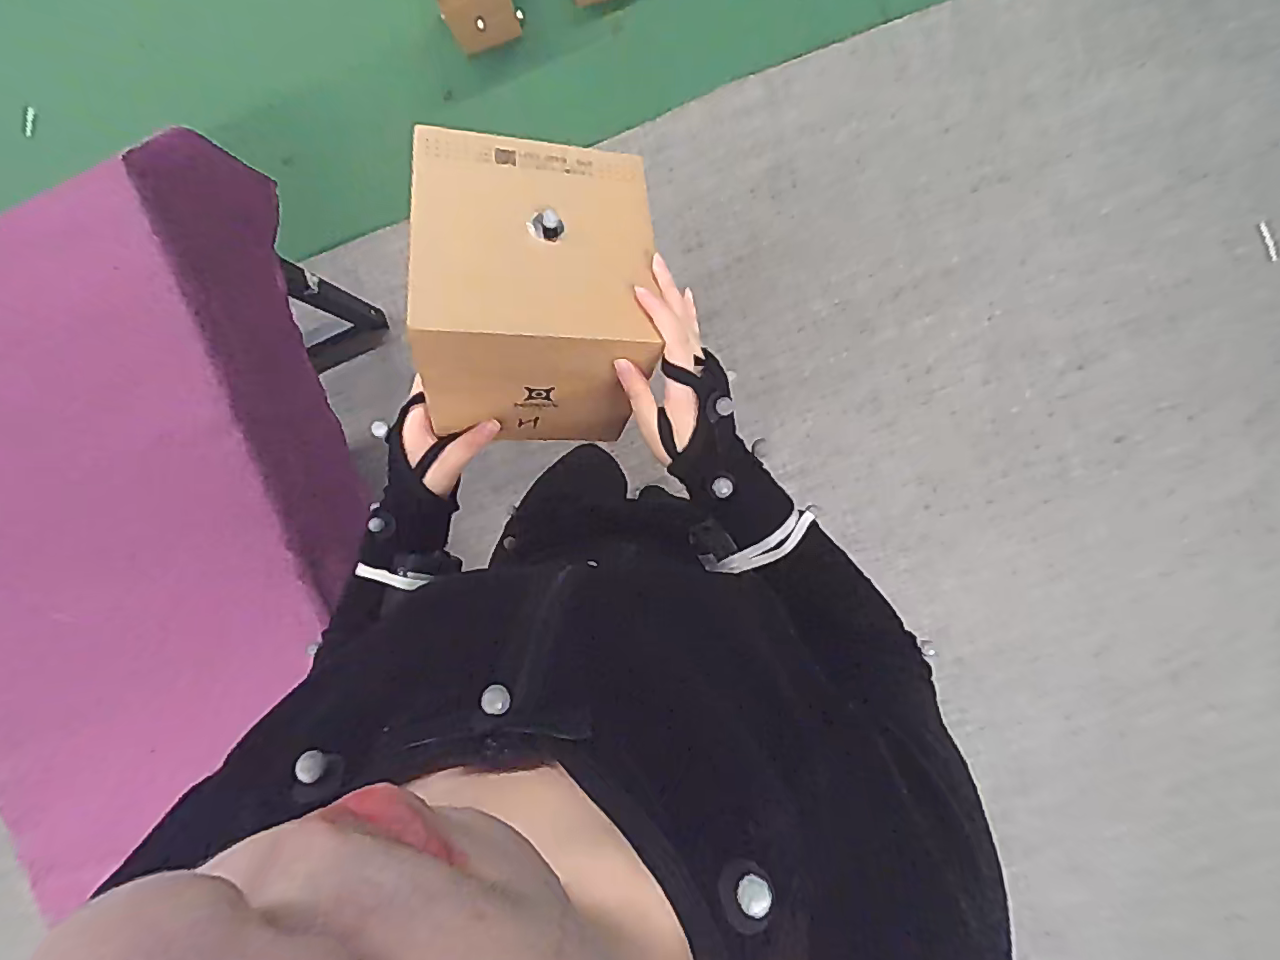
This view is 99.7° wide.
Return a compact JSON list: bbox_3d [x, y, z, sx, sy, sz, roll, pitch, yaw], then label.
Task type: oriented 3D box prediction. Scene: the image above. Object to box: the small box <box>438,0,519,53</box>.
[{"bbox_3d":[-0.431,-1.276,1.408,0.179,0.176,0.168,-18,90,5],"label":"small box"}]
